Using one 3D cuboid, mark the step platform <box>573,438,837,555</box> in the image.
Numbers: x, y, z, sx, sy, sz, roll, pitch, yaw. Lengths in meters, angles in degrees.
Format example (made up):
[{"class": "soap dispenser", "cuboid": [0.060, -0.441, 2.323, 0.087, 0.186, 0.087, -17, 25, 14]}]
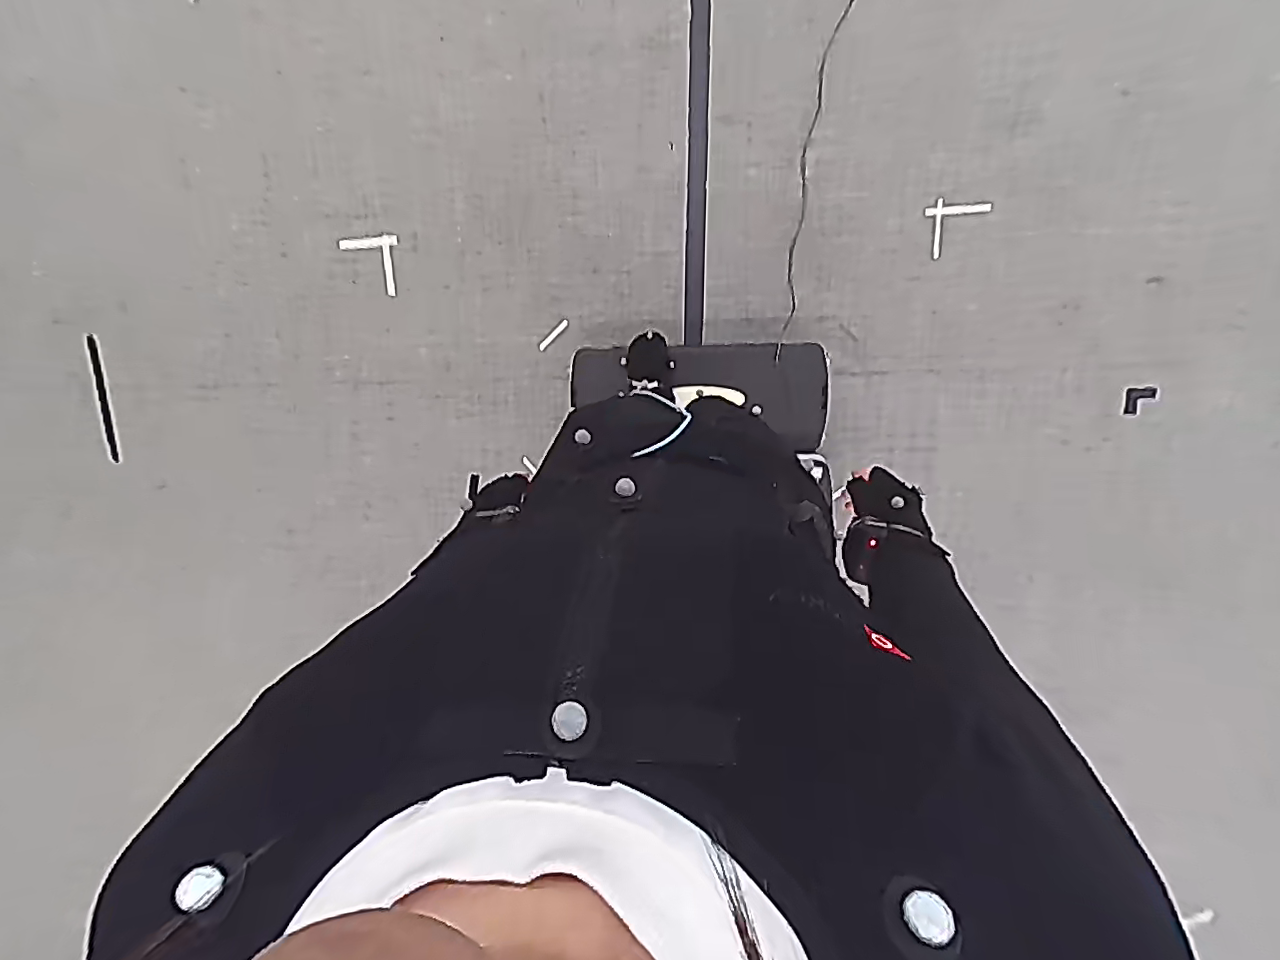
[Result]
[{"class": "step platform", "cuboid": [0.165, 0.042, 1.444, 0.684, 0.204, 0.286, 0, 99, 8]}]
